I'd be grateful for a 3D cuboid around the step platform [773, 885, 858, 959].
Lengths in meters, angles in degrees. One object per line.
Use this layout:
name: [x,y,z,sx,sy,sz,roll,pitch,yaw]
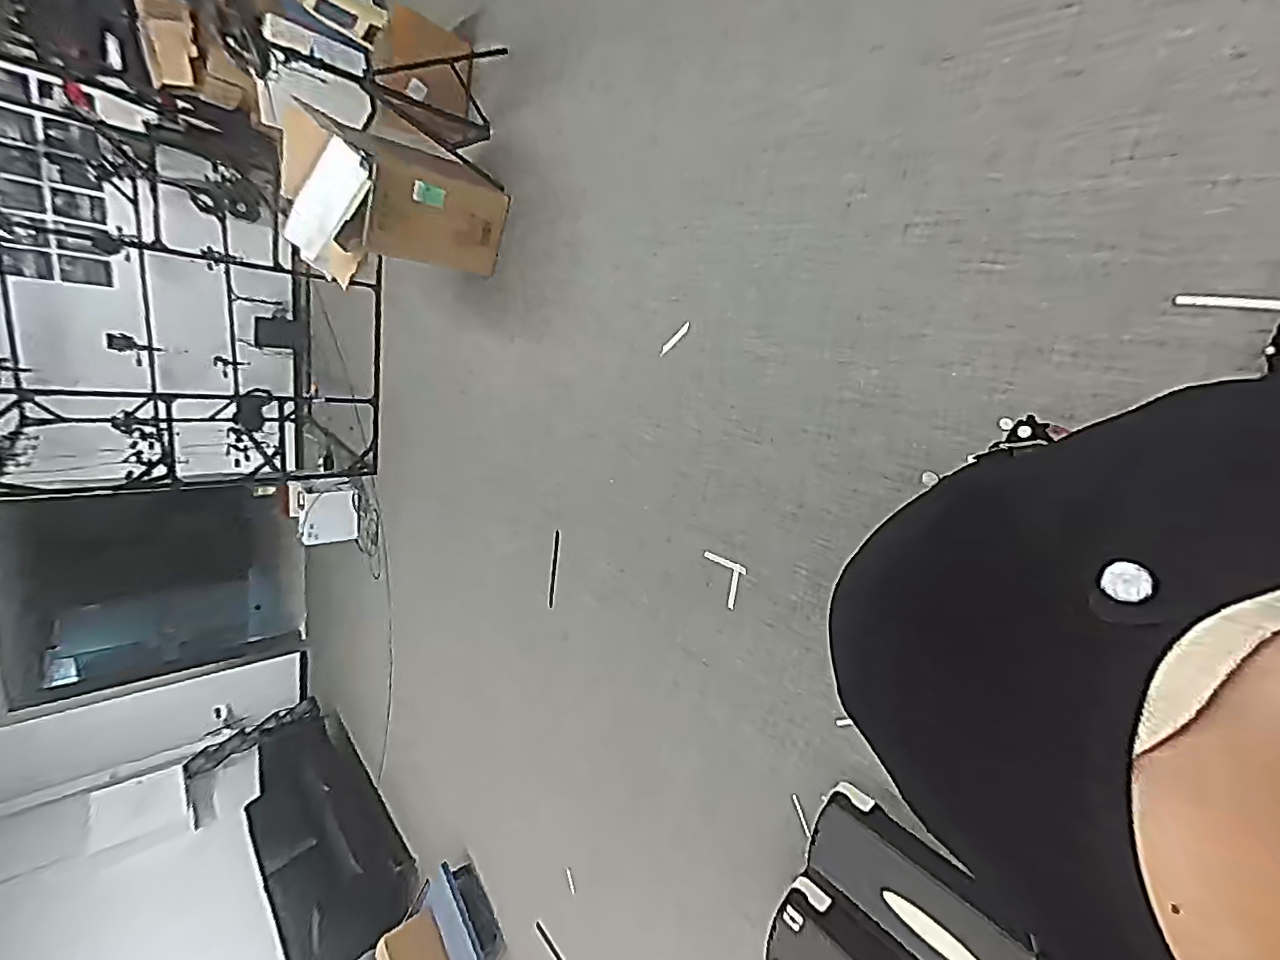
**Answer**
step platform: [0.650,1.411,1.325,0.684,0.204,0.286,30,114,44]
